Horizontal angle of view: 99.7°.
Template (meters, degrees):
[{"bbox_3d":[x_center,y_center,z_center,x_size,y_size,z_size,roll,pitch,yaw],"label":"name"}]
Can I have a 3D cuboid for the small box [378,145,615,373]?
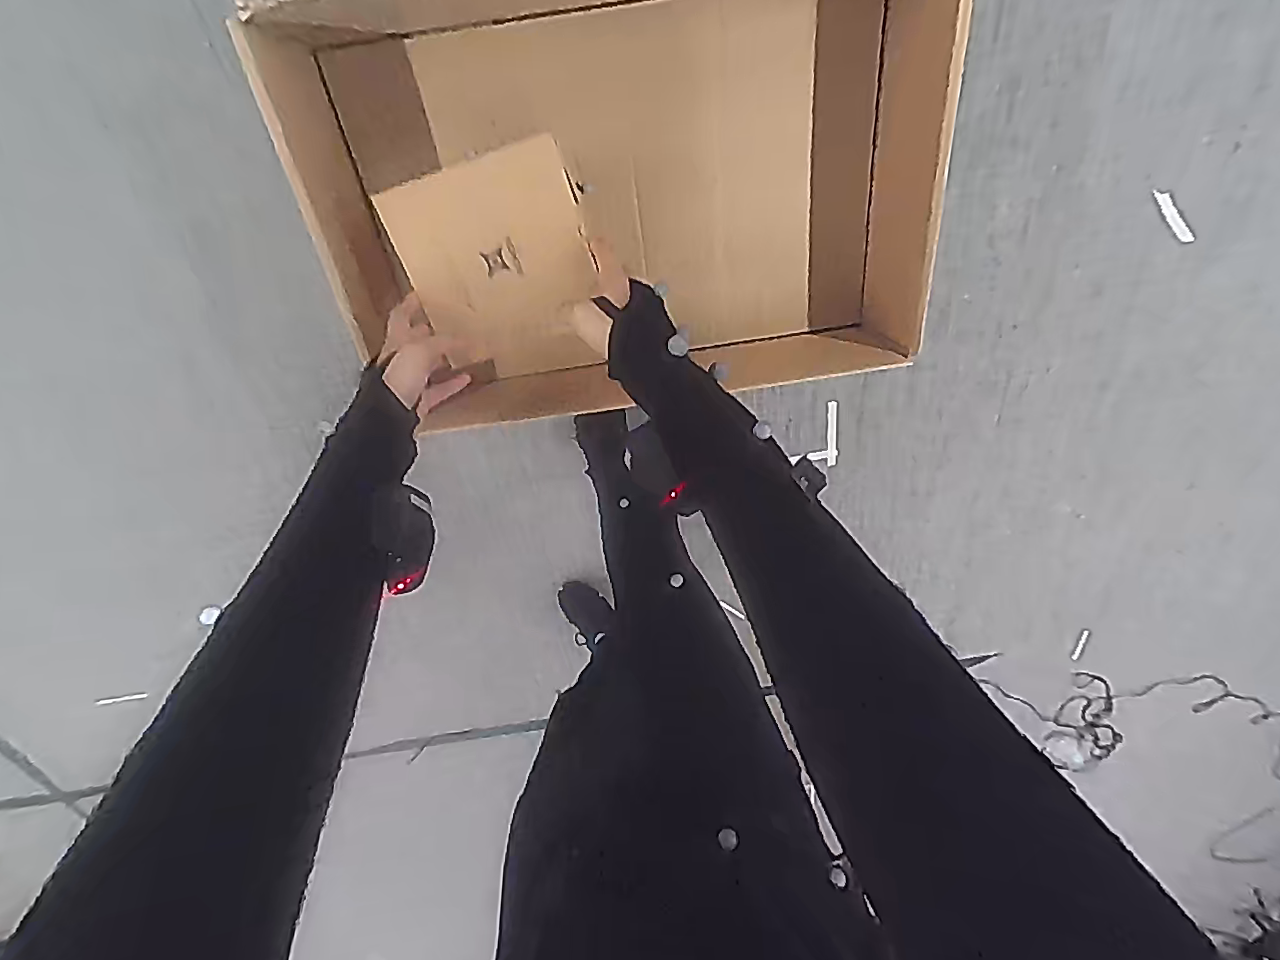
[{"bbox_3d":[-0.134,-0.238,0.578,0.179,0.176,0.168,-16,117,6],"label":"small box"}]
